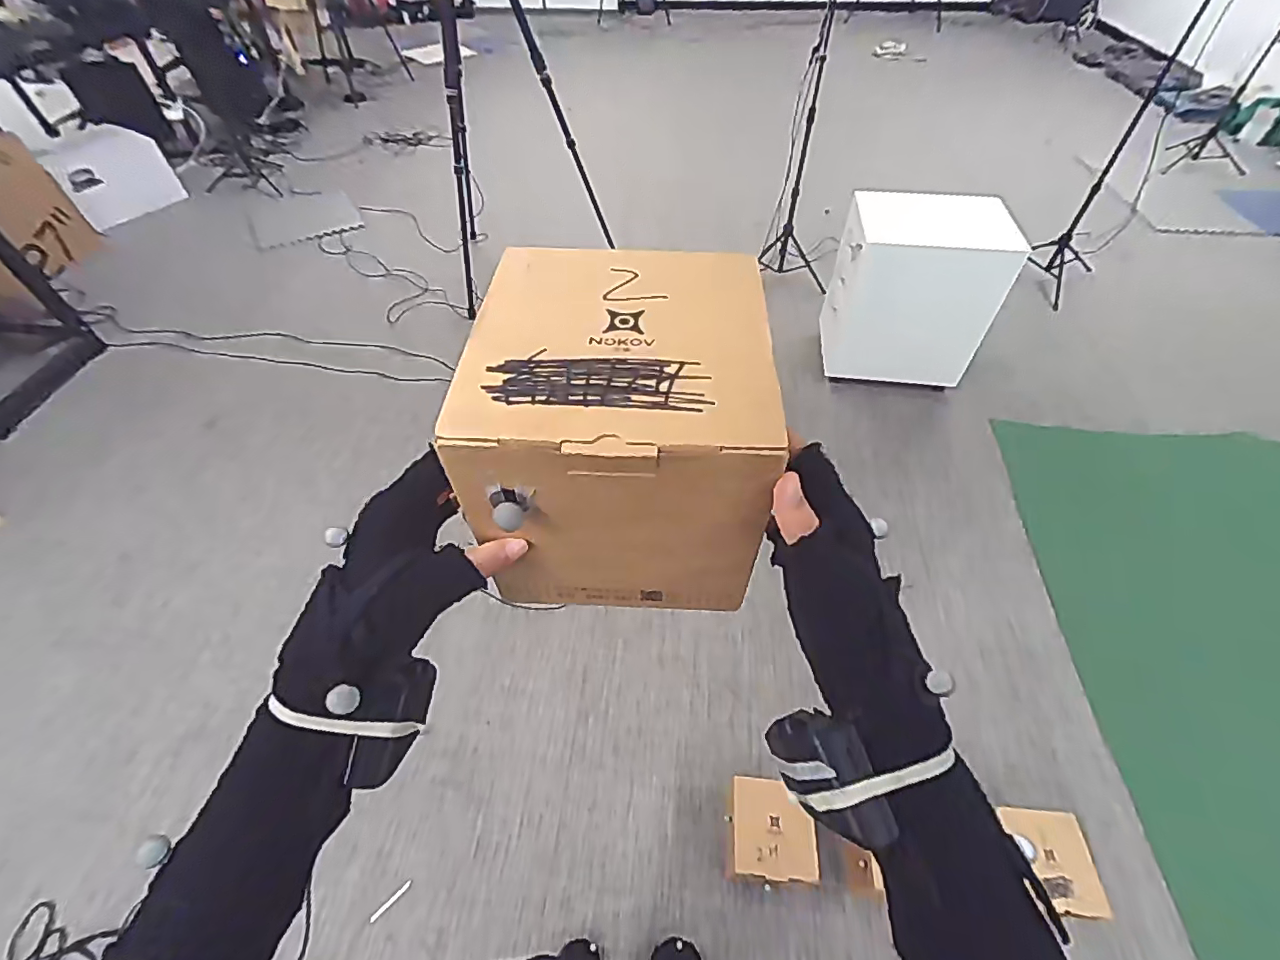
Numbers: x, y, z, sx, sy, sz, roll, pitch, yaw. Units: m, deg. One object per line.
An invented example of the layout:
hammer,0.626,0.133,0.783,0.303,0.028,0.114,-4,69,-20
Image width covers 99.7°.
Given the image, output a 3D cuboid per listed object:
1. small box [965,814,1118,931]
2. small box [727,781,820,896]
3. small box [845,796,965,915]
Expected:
small box,0.809,0.810,1.115,0.168,0.176,0.179,3,50,3
small box,0.275,0.767,1.154,0.168,0.176,0.179,4,51,5
small box,0.542,0.789,1.136,0.168,0.176,0.179,6,51,5
